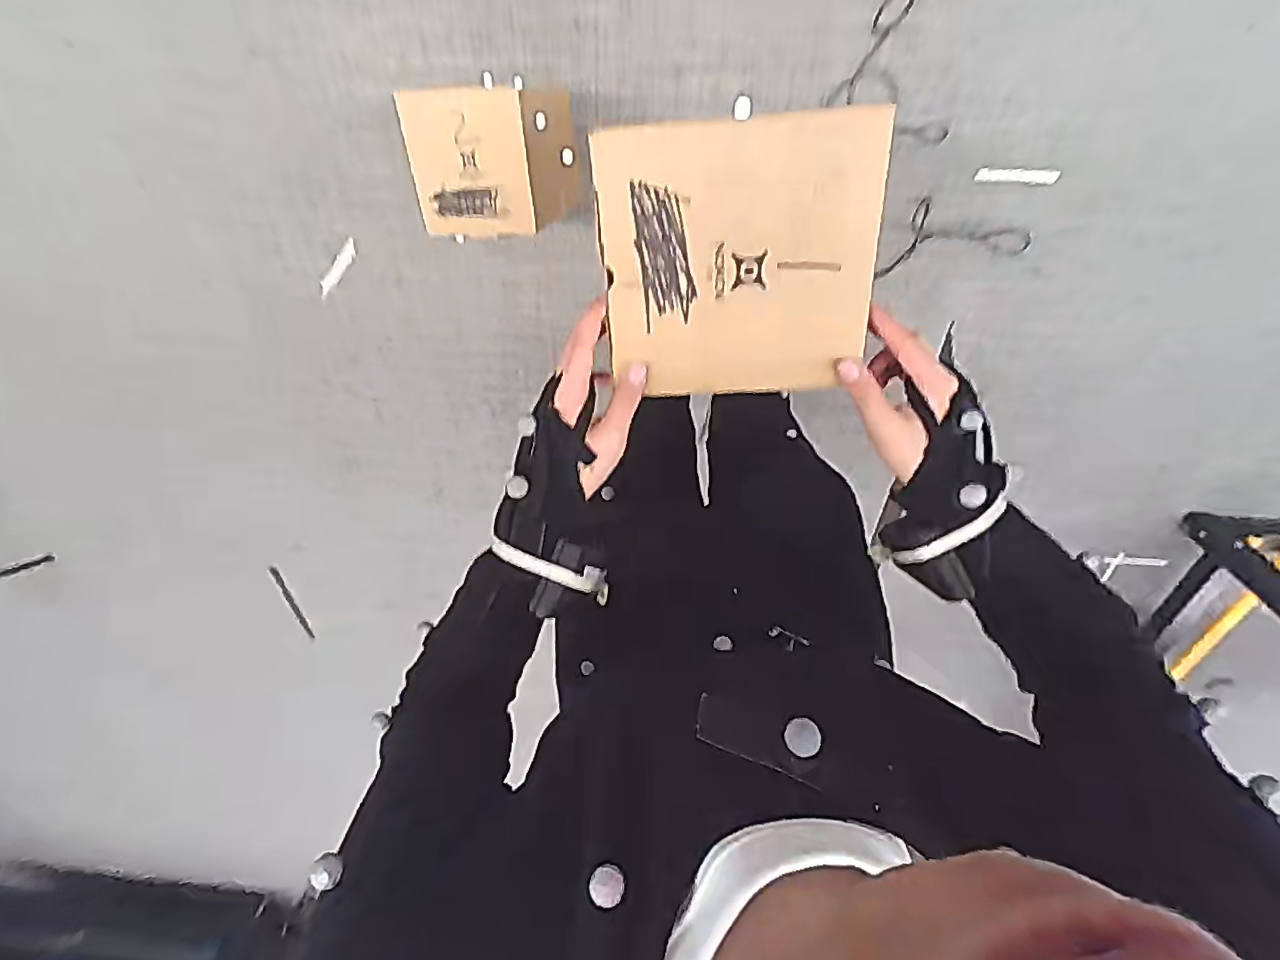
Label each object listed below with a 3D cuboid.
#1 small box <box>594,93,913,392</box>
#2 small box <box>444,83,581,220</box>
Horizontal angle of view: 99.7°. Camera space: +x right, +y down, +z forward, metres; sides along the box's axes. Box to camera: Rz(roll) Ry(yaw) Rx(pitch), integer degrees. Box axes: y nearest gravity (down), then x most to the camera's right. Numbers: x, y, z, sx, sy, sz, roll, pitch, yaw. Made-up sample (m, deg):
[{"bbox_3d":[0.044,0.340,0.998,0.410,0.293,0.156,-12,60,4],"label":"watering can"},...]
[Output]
[{"bbox_3d":[0.070,-0.172,0.403,0.179,0.176,0.168,-1,119,5],"label":"small box"},{"bbox_3d":[-0.205,-0.561,0.926,0.168,0.176,0.179,-2,126,8],"label":"small box"}]
